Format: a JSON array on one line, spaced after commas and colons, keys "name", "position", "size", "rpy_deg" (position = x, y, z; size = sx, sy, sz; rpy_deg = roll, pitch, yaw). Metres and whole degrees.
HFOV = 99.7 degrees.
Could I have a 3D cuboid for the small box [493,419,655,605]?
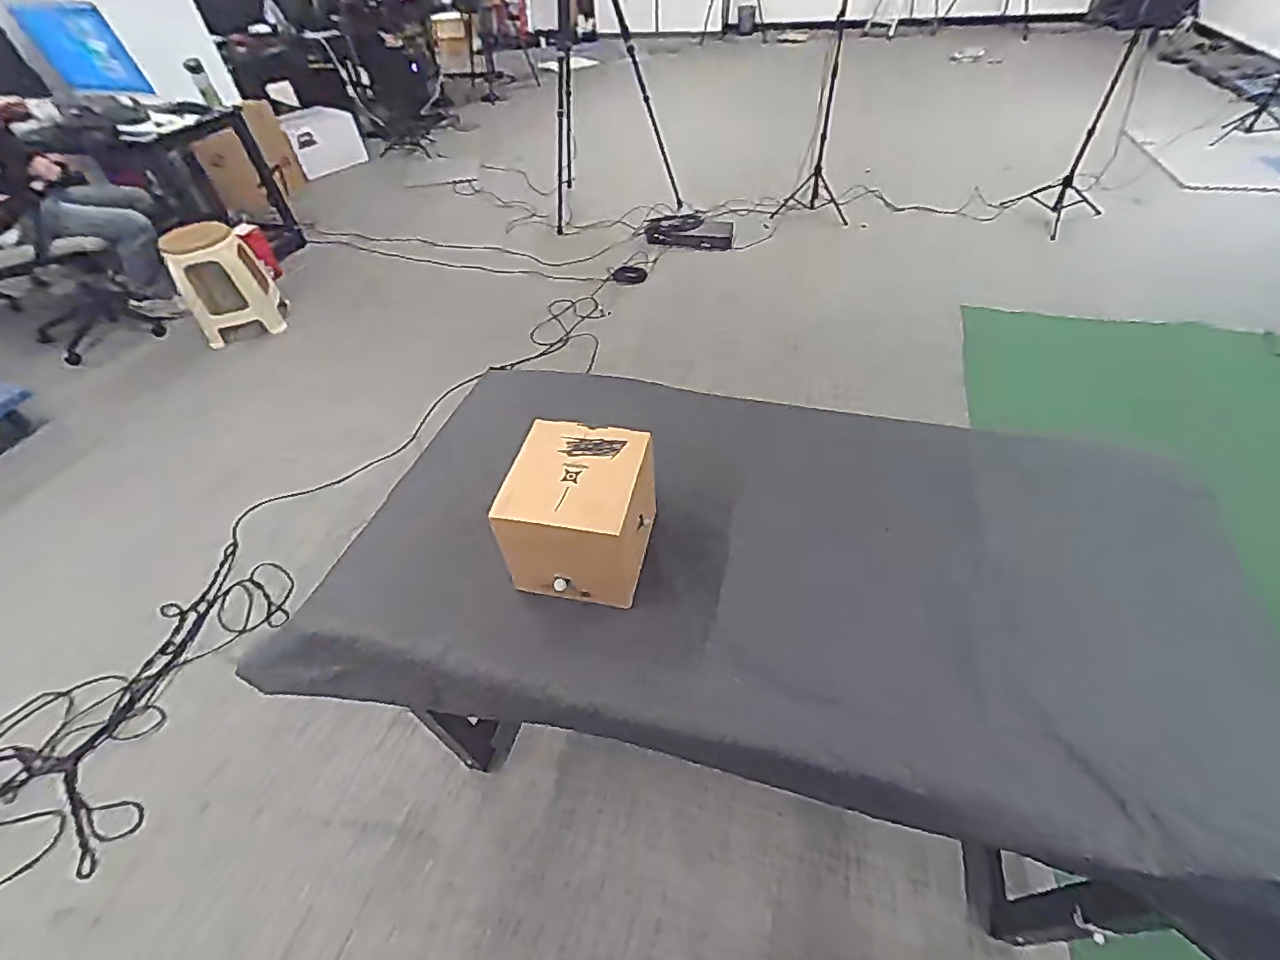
[{"name": "small box", "position": [-0.075, 0.043, 0.739], "size": [0.168, 0.176, 0.179], "rpy_deg": [7, 48, 11]}]
